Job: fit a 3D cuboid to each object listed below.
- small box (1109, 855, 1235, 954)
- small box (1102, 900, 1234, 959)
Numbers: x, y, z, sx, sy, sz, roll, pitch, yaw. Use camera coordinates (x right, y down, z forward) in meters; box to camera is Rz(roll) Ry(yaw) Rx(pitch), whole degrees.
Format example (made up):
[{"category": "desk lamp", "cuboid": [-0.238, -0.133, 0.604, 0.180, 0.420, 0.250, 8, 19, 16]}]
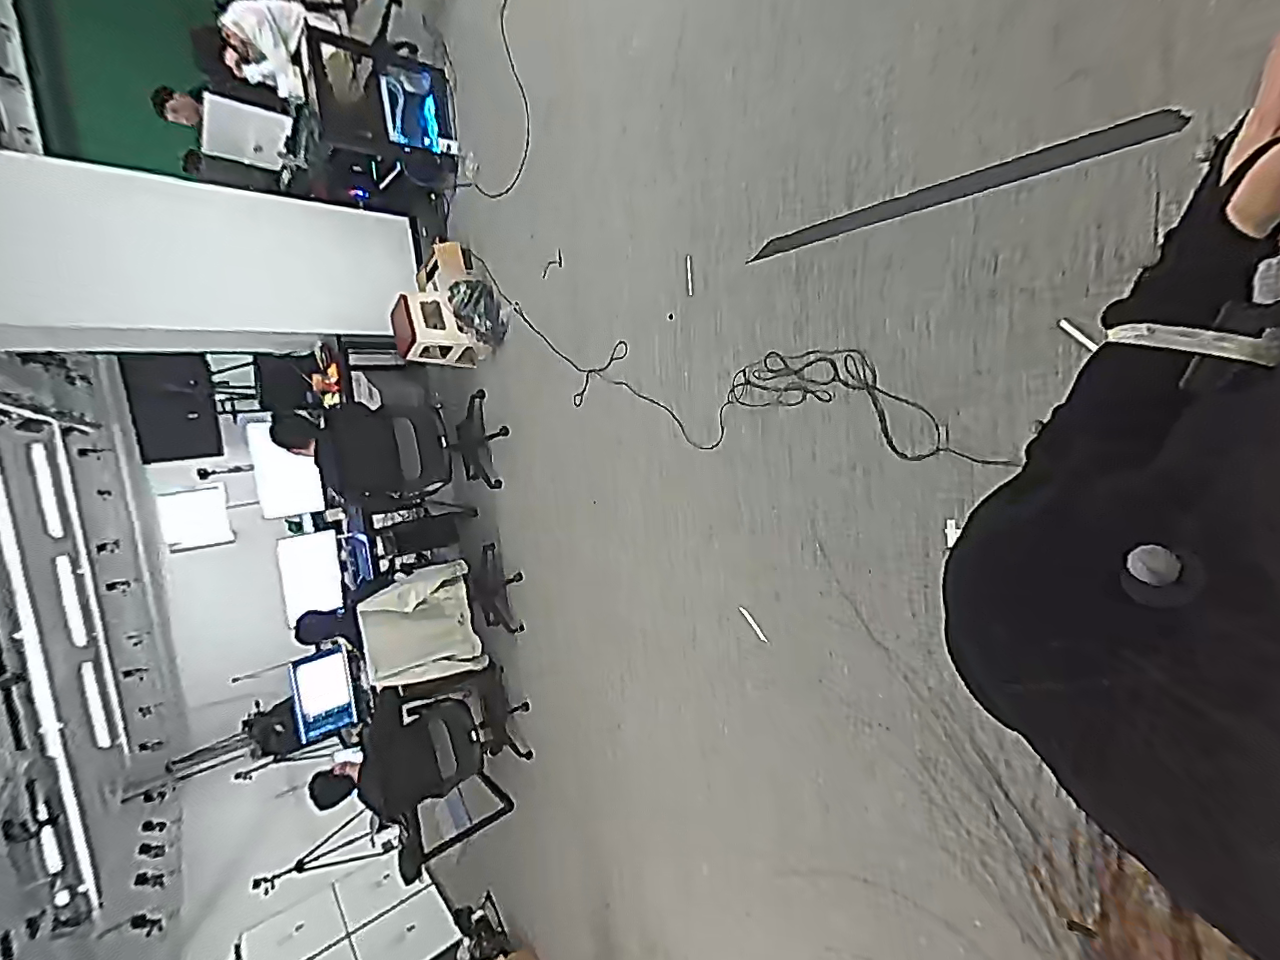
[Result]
[{"category": "small box", "cuboid": [1.130, 0.951, 1.152, 0.179, 0.176, 0.168, 4, 101, 49]}, {"category": "small box", "cuboid": [1.010, 0.973, 1.041, 0.179, 0.176, 0.168, 7, 103, 48]}]
